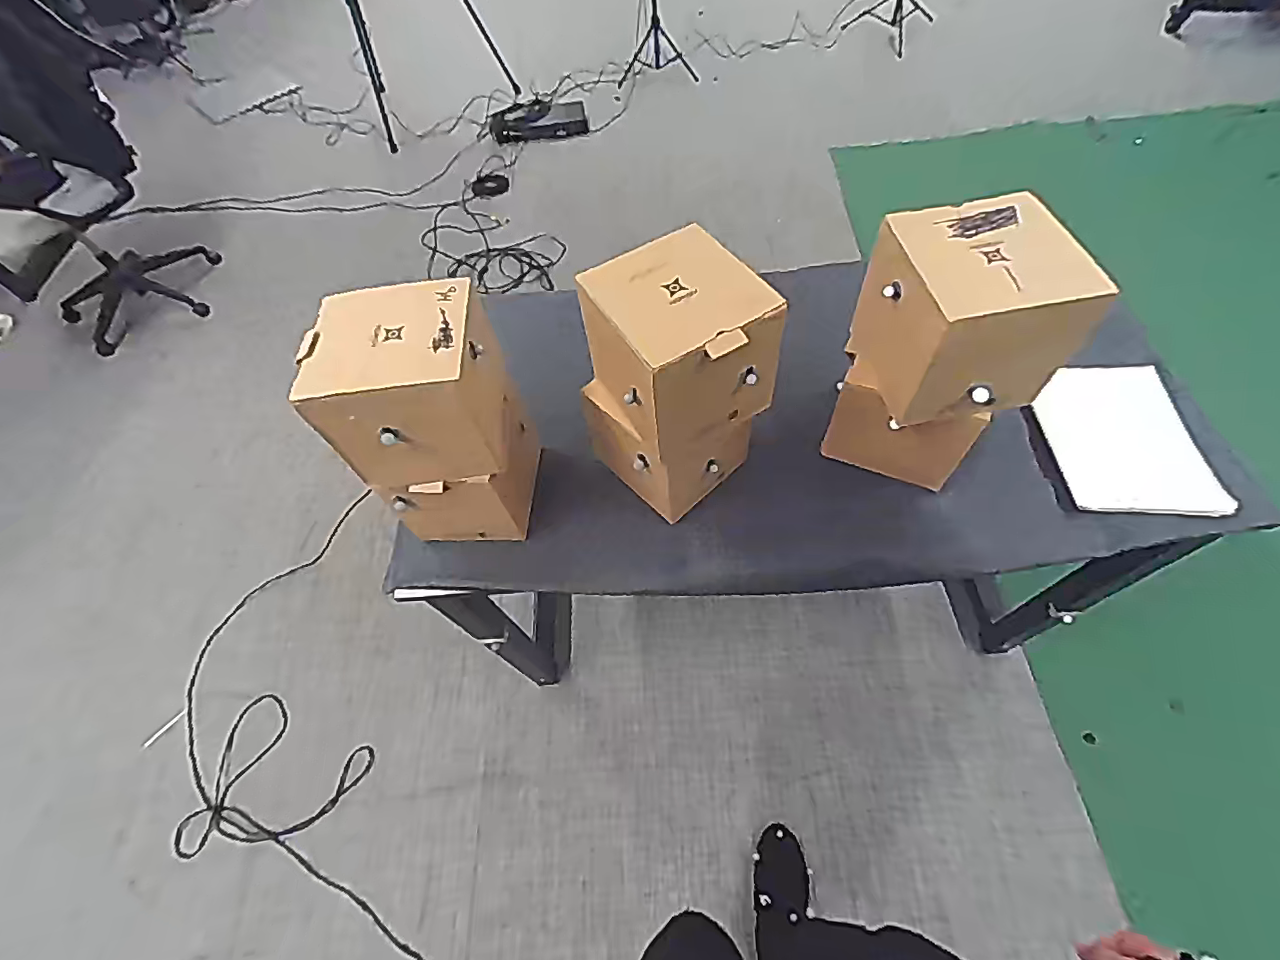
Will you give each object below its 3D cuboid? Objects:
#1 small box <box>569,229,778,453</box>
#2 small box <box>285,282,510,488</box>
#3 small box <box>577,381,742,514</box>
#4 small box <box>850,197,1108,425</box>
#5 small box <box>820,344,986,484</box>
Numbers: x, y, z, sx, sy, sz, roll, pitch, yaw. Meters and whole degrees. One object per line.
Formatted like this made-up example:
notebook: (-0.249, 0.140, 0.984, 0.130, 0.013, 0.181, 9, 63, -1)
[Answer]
small box: (0.039, -0.155, 0.645, 0.168, 0.176, 0.179, -29, 59, -13)
small box: (-0.269, -0.106, 0.647, 0.179, 0.176, 0.168, -8, 56, 1)
small box: (0.037, -0.074, 0.787, 0.168, 0.176, 0.179, -40, 62, -18)
small box: (0.364, -0.190, 0.628, 0.168, 0.176, 0.179, -10, 58, 2)
small box: (0.378, -0.116, 0.775, 0.179, 0.176, 0.168, 20, 62, 19)
